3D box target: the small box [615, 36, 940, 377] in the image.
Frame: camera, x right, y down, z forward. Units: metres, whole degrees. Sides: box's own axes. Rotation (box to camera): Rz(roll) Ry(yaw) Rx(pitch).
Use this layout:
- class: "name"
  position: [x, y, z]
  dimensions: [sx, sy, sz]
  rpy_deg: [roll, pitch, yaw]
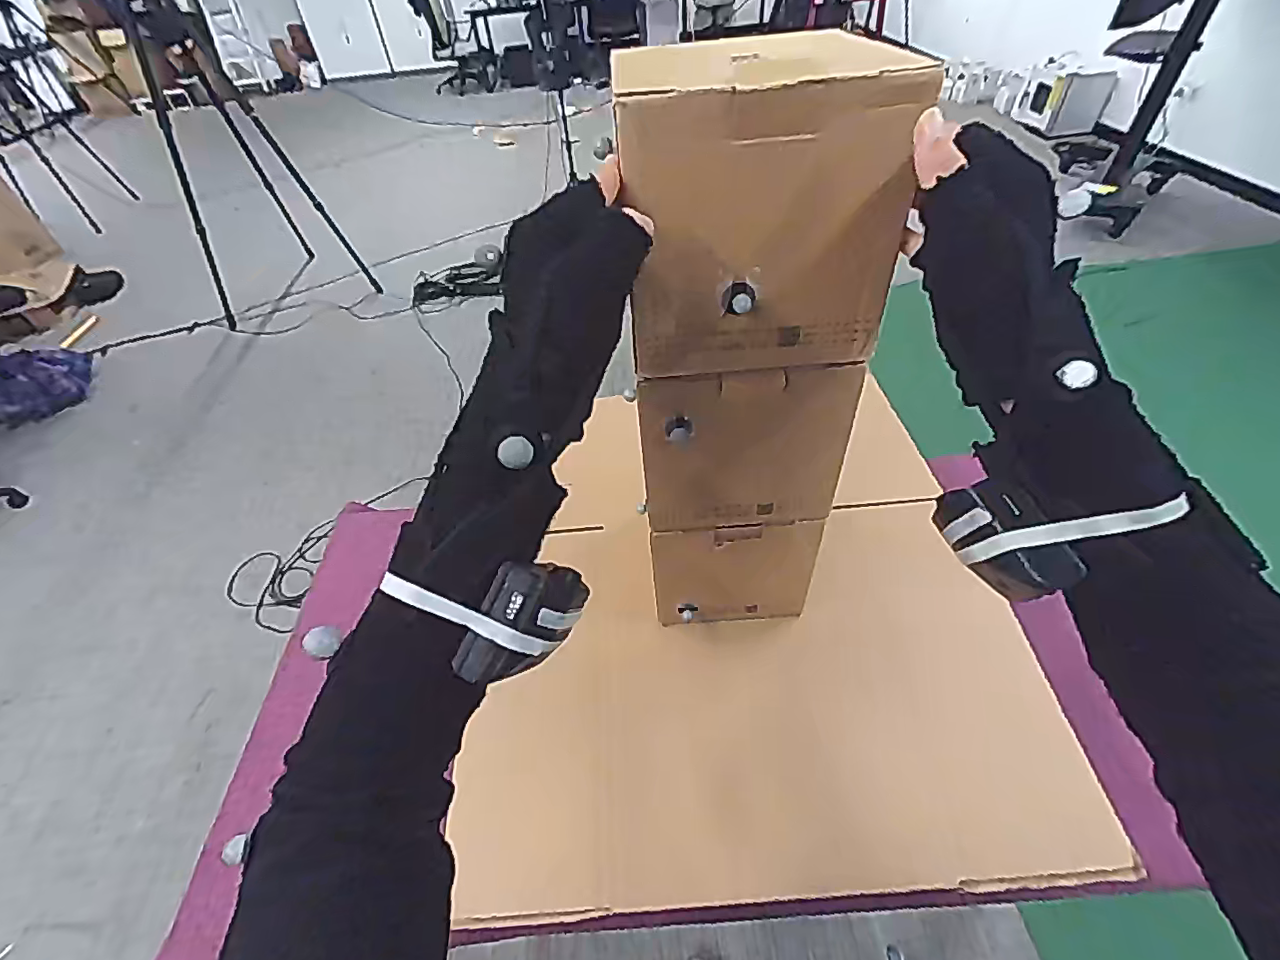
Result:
- class: "small box"
  position: [0.069, -0.193, 0.384]
  dimensions: [0.168, 0.176, 0.179]
  rpy_deg: [-5, 45, 1]

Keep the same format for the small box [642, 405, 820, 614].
- class: "small box"
  position: [0.092, 0.039, 0.615]
  dimensions: [0.168, 0.176, 0.179]
  rpy_deg: [-5, 45, 2]
